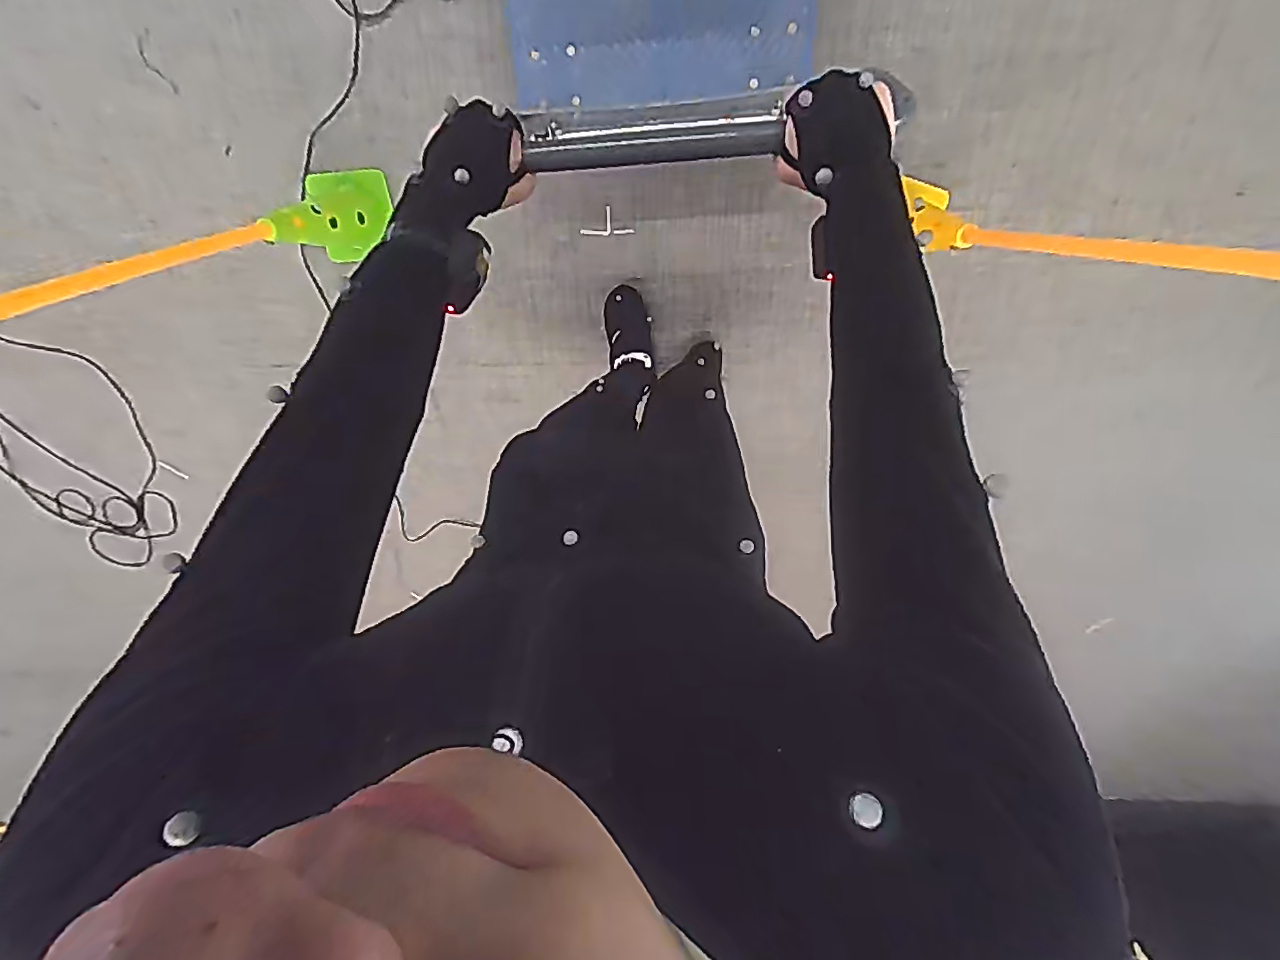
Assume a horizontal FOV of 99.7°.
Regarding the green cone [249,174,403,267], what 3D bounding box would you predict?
[{"bbox_3d":[-0.719,-0.562,1.196,0.202,0.368,0.200,-3,118,6],"label":"green cone"}]
